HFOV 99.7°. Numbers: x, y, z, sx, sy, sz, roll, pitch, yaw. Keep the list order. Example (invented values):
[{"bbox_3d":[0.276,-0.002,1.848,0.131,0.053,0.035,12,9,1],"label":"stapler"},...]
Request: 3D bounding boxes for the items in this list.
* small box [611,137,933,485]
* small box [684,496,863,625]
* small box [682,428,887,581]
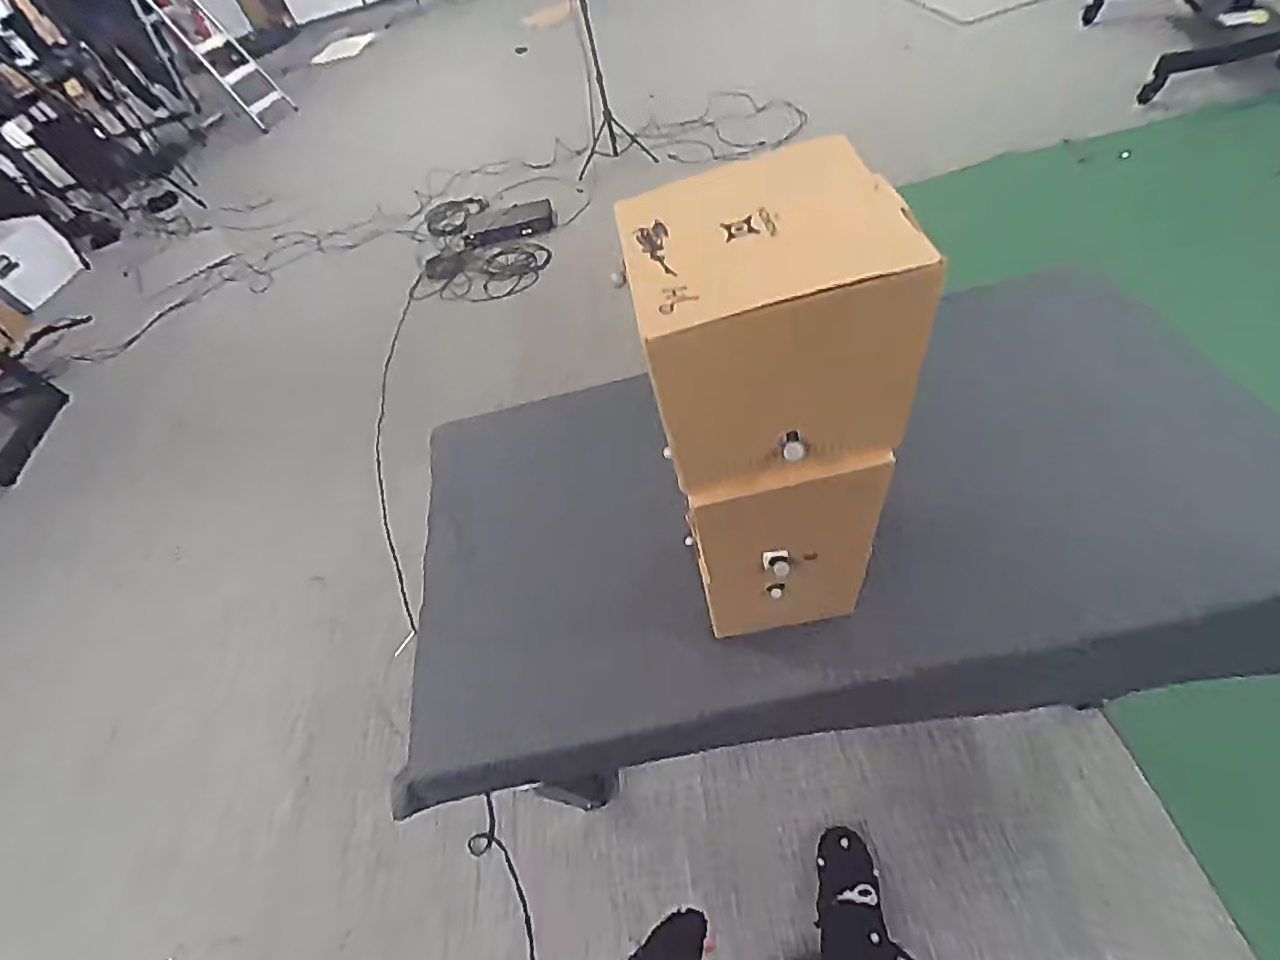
[{"bbox_3d":[0.086,-0.118,0.415,0.179,0.176,0.168,-12,53,6],"label":"small box"},{"bbox_3d":[0.155,0.067,0.673,0.179,0.176,0.168,-11,54,5],"label":"small box"},{"bbox_3d":[0.122,-0.023,0.543,0.168,0.176,0.179,-14,54,6],"label":"small box"}]
